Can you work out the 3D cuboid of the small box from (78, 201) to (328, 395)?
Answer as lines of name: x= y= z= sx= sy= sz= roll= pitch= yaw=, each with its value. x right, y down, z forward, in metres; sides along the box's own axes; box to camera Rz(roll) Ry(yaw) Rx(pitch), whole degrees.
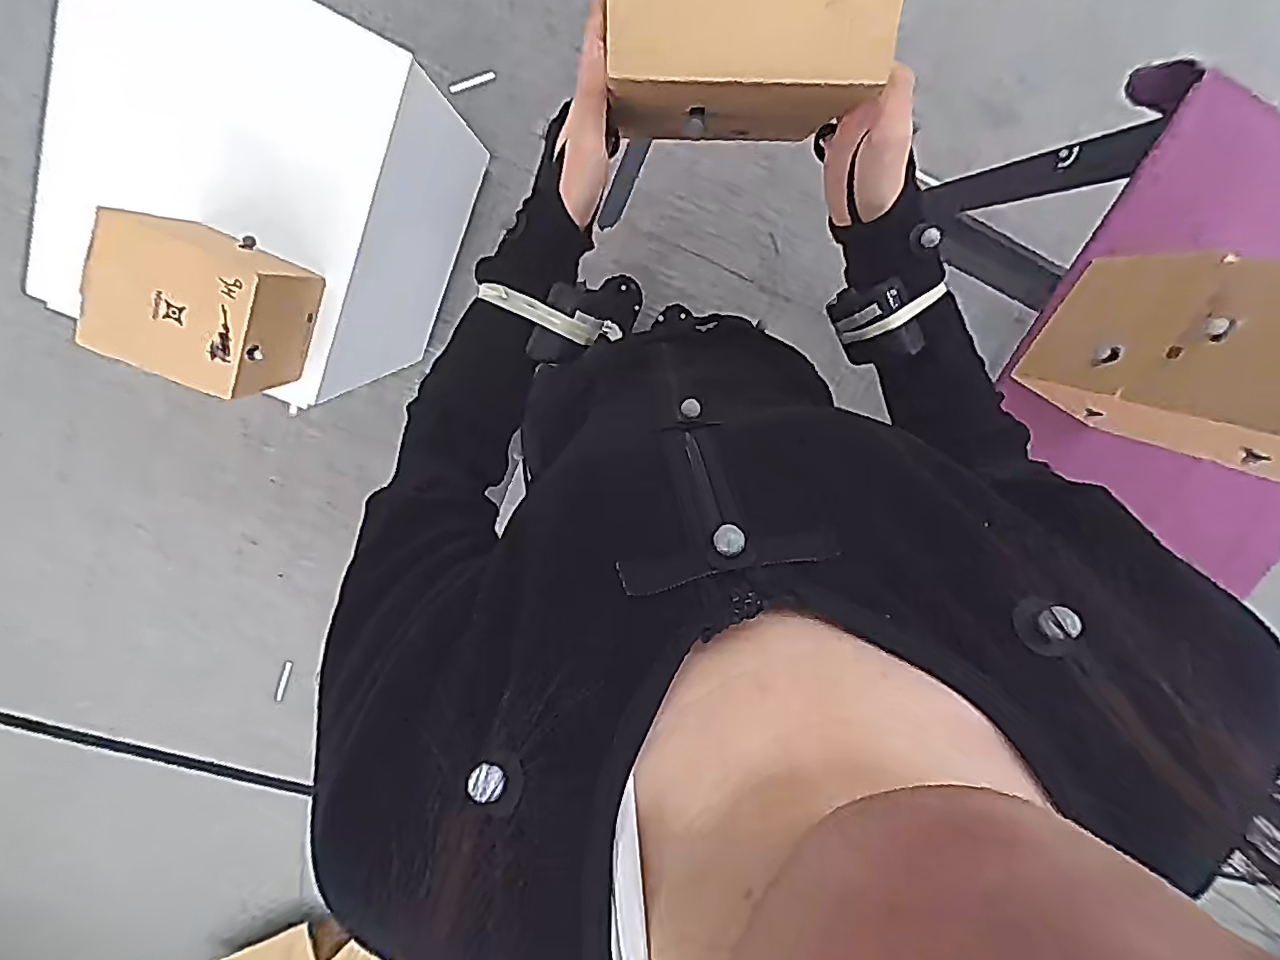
small box: x=-0.552 y=-0.229 z=0.704 sx=0.179 sy=0.176 sz=0.168 roll=23 pitch=106 yaw=-11

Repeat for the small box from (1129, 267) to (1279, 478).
small box: x=0.654 y=-0.096 z=0.522 sx=0.179 sy=0.176 sz=0.168 roll=25 pitch=106 yaw=-11

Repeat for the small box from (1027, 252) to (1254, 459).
small box: x=0.636 y=-0.157 z=0.673 sx=0.168 sy=0.176 sz=0.179 roll=26 pitch=105 yaw=-13

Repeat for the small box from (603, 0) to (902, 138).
small box: x=0.063 y=-0.338 z=0.350 sx=0.168 sy=0.176 sz=0.179 roll=0 pitch=111 yaw=-1
